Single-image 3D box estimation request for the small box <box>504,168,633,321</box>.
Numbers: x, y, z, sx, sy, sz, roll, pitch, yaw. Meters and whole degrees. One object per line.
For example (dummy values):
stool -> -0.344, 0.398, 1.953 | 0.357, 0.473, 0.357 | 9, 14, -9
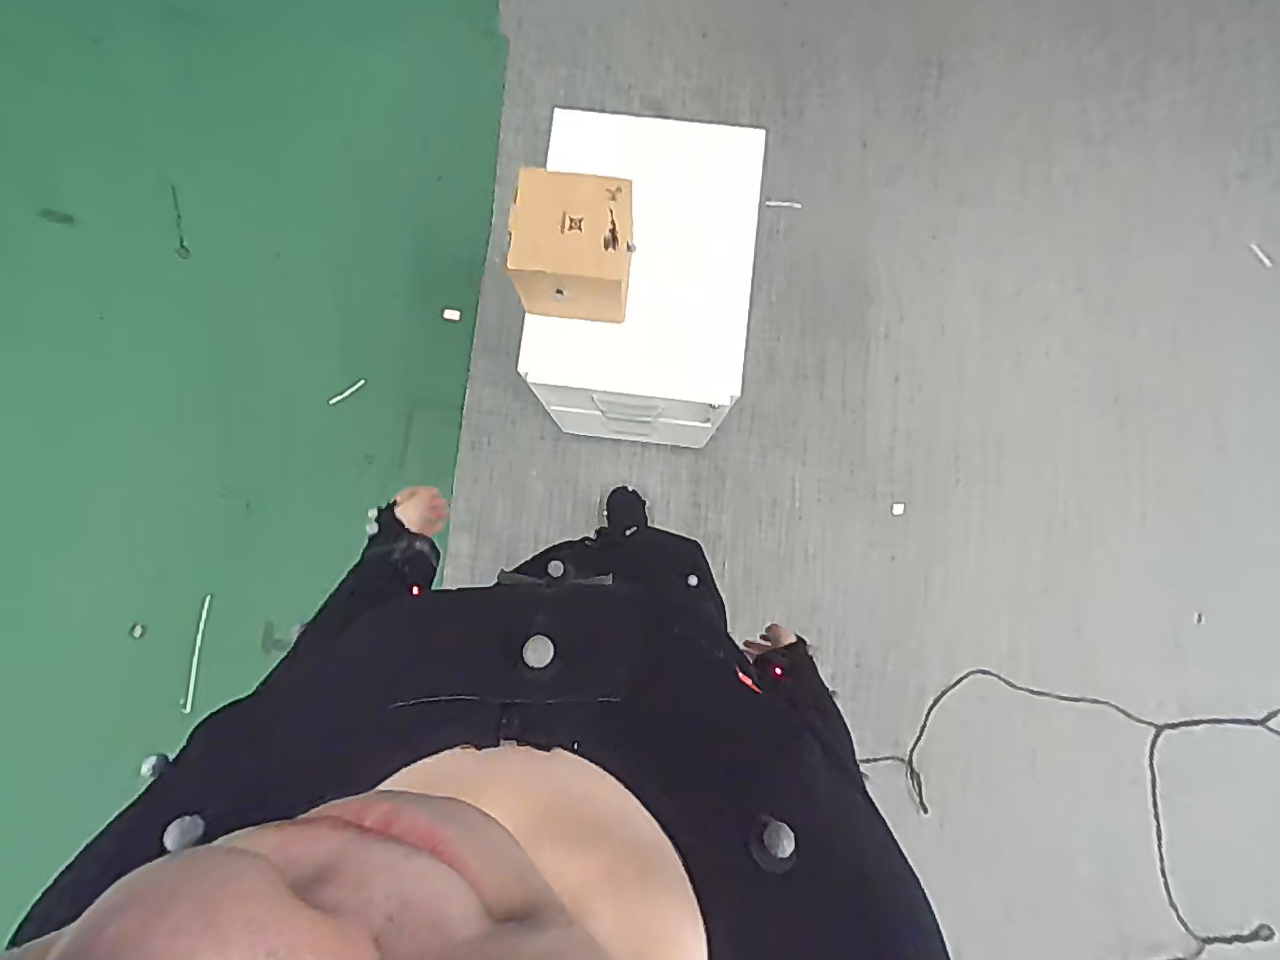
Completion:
small box -> -0.107, -0.373, 0.884 | 0.179, 0.176, 0.168 | 6, 84, 0
